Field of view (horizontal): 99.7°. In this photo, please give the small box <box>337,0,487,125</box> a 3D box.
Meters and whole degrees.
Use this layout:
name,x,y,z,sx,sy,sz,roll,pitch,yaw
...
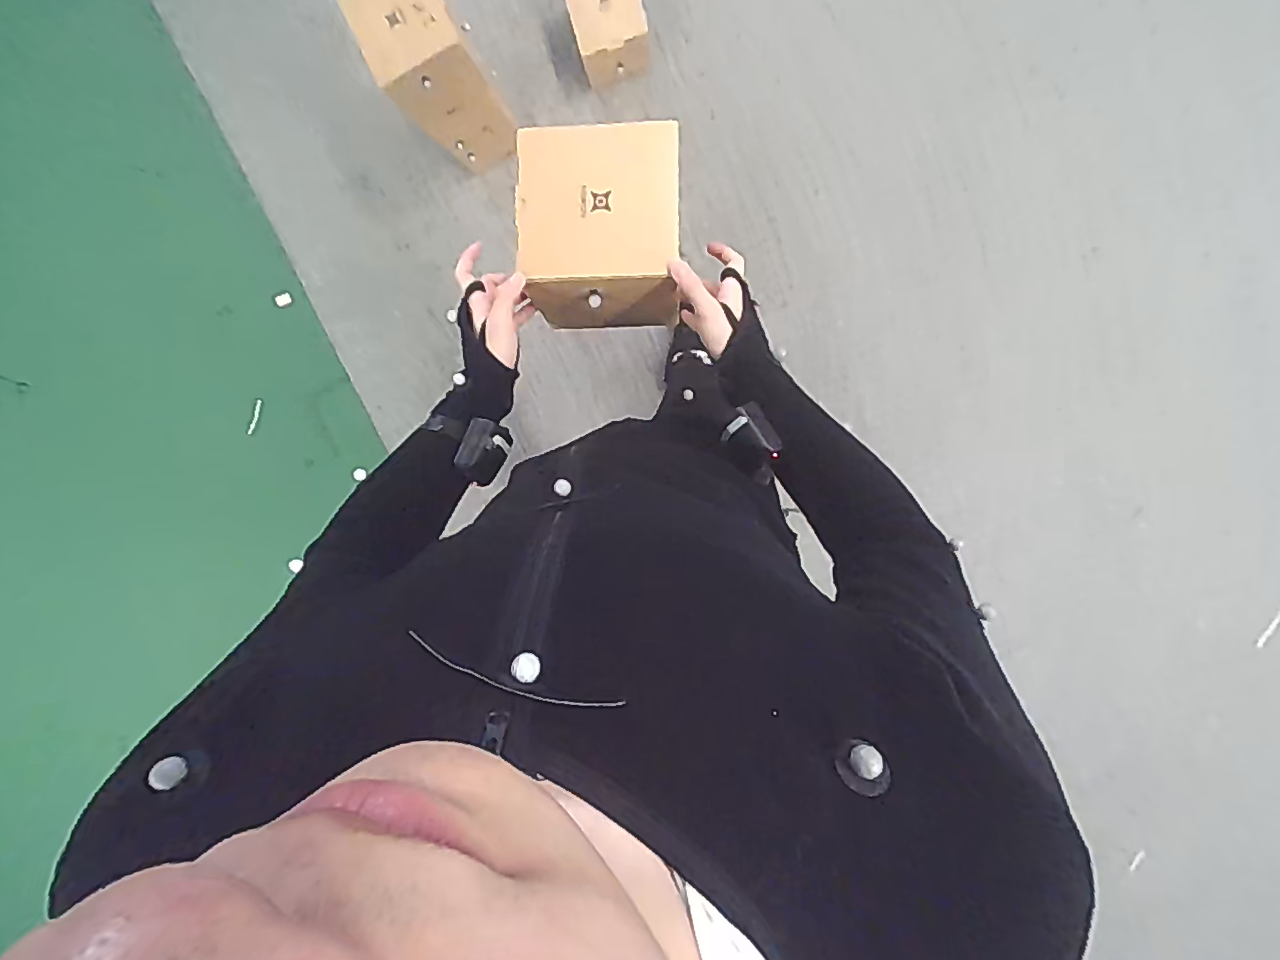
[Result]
name,x,y,z,sx,sy,sz,roll,pitch,yaw
small box,-0.428,-0.833,1.043,0.179,0.176,0.168,-24,100,8

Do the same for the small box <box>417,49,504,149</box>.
name,x,y,z,sx,sy,sz,roll,pitch,yaw
small box,-0.428,-0.875,1.203,0.168,0.176,0.179,-25,98,8

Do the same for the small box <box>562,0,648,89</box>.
name,x,y,z,sx,sy,sz,roll,pitch,yaw
small box,-0.080,-1.085,1.304,0.168,0.176,0.179,-16,102,6

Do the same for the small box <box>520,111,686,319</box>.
name,x,y,z,sx,sy,sz,roll,pitch,yaw
small box,-0.035,-0.300,0.645,0.179,0.176,0.168,-1,88,5
